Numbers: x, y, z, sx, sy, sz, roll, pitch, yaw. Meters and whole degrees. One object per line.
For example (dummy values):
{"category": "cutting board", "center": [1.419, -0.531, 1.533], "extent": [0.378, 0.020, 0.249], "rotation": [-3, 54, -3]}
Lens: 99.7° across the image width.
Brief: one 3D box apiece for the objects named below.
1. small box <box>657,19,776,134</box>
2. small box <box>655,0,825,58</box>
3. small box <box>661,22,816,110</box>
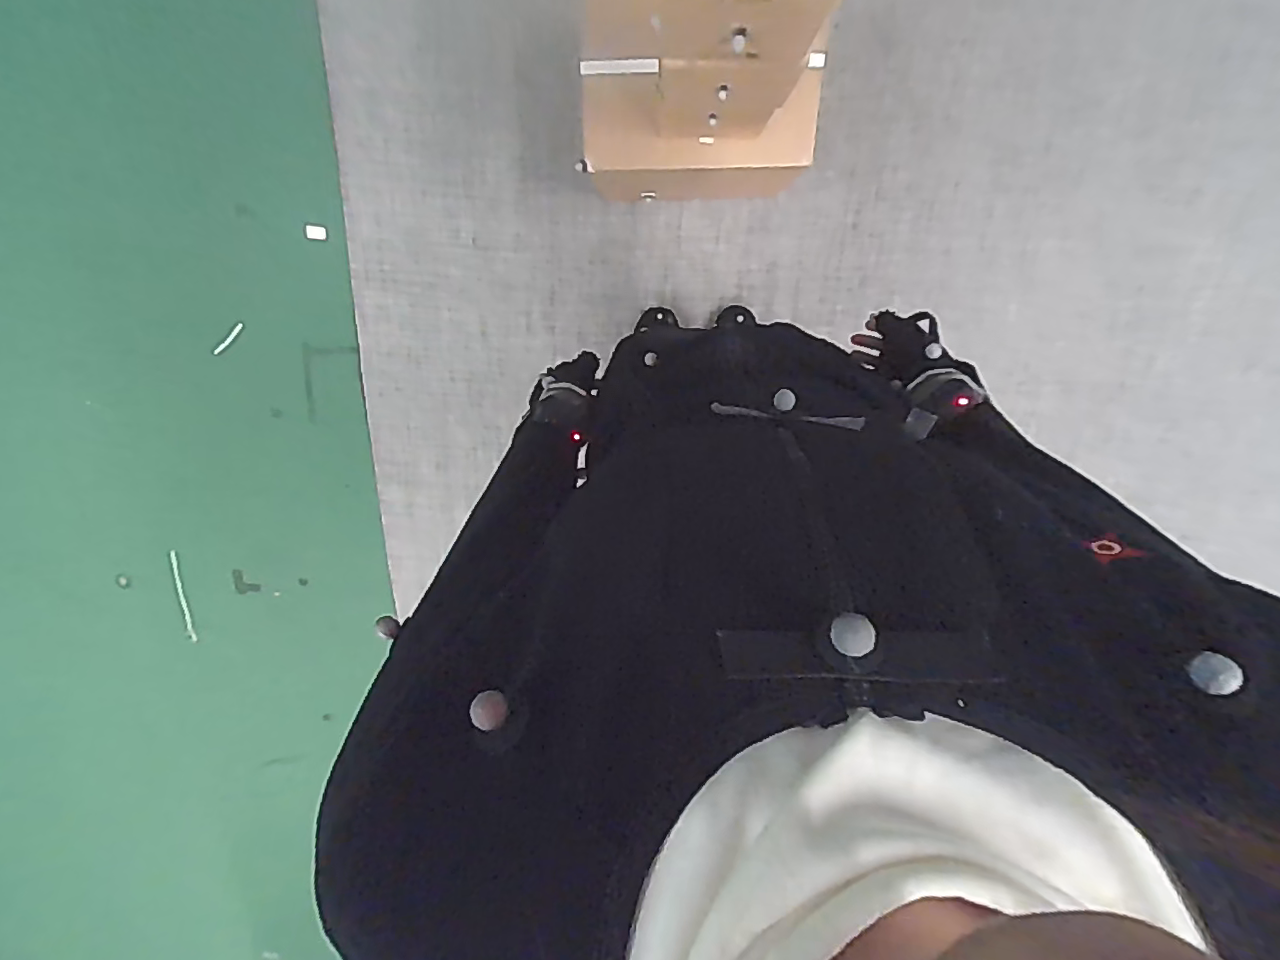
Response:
{"category": "small box", "center": [0.118, -0.649, 0.834], "extent": [0.179, 0.176, 0.168], "rotation": [2, 110, 1]}
{"category": "small box", "center": [0.105, -0.543, 0.524], "extent": [0.168, 0.176, 0.179], "rotation": [5, 111, 2]}
{"category": "small box", "center": [0.116, -0.589, 0.681], "extent": [0.179, 0.176, 0.168], "rotation": [-2, 110, 3]}
